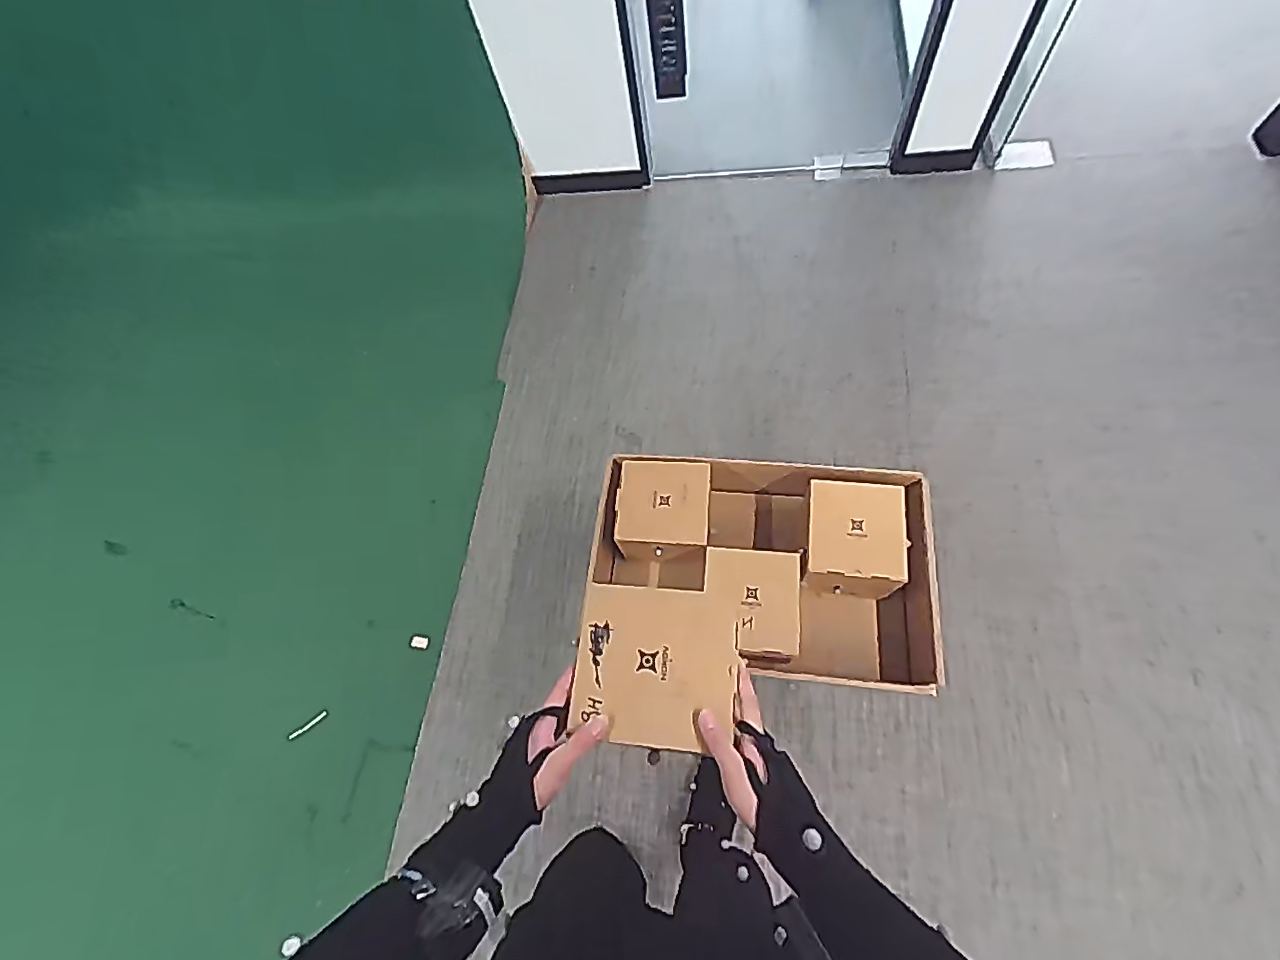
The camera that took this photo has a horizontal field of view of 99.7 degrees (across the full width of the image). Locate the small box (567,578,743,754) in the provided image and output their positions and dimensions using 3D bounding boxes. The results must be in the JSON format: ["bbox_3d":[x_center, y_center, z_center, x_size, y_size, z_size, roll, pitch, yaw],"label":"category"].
[{"bbox_3d":[0.025,0.229,0.654,0.179,0.176,0.168,4,63,7],"label":"small box"}]

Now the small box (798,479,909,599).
[{"bbox_3d":[0.397,0.116,1.028,0.168,0.176,0.179,5,69,10],"label":"small box"}]
